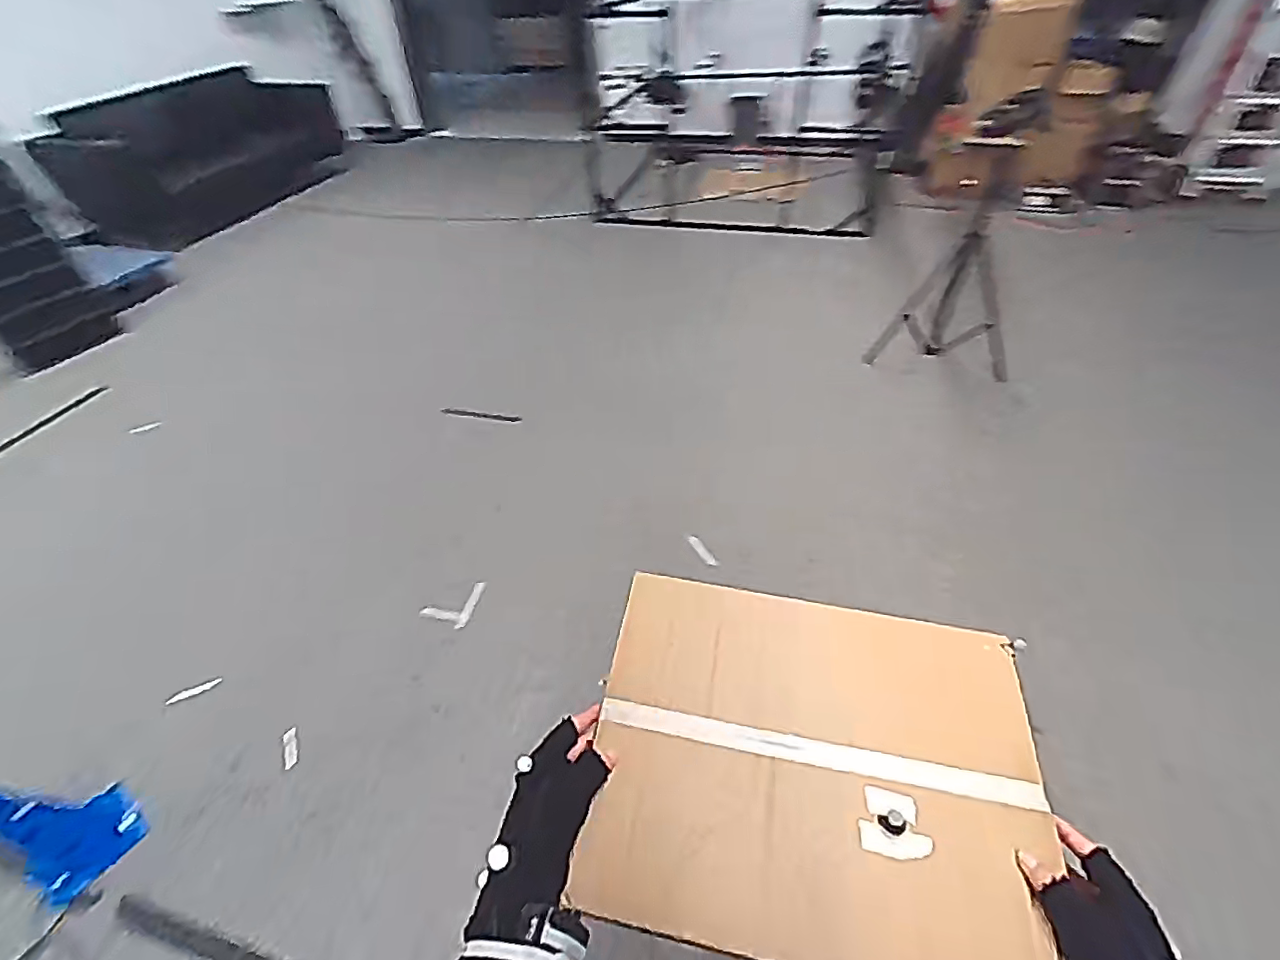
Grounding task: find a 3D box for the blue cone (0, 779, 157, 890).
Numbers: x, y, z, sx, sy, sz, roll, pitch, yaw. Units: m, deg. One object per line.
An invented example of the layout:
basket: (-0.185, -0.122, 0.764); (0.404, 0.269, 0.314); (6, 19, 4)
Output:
blue cone: (-1.331, 0.757, 1.228); (0.192, 0.380, 0.193); (26, 50, 27)
